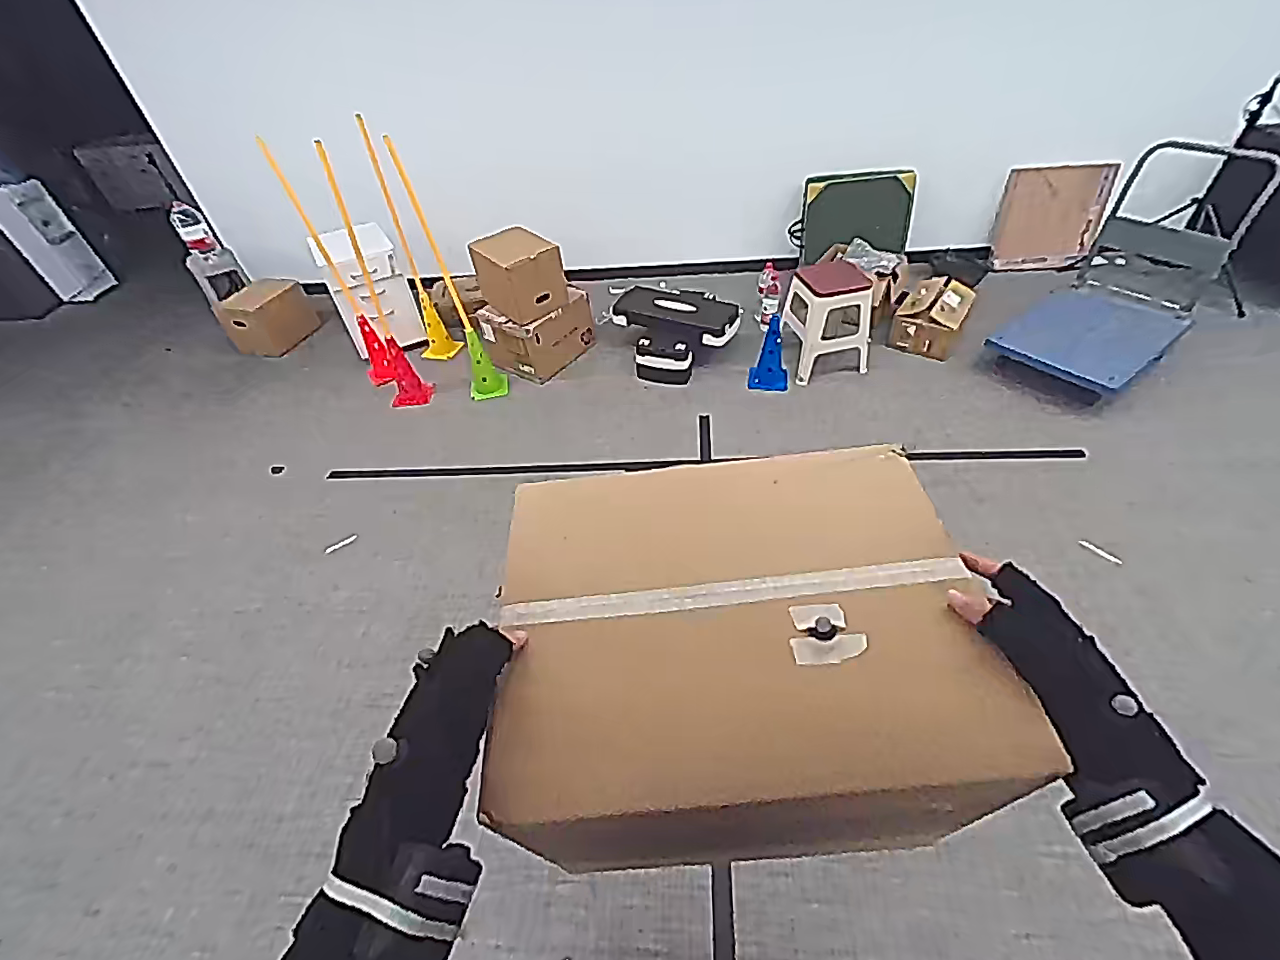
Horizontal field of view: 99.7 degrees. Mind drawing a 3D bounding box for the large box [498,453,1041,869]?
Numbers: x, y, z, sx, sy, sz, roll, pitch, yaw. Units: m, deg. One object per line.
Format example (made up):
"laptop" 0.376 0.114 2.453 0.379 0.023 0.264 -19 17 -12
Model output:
"large box" 0.093 0.204 0.596 0.408 0.320 0.320 -6 49 2
